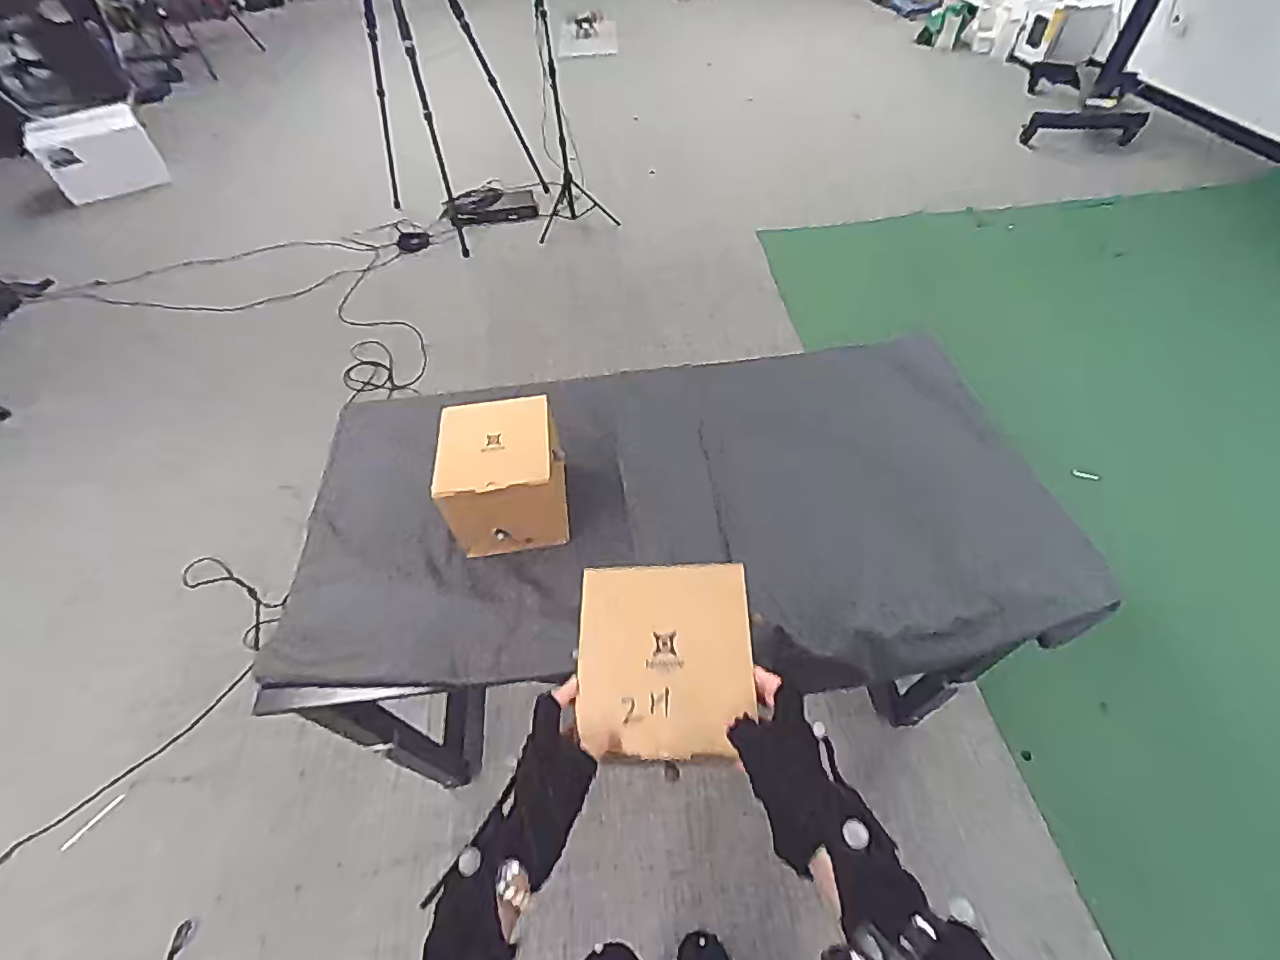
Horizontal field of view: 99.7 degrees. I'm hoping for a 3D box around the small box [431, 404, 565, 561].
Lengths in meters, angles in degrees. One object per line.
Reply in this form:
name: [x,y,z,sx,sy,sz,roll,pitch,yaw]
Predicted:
small box: [-0.214,0.006,0.857,0.168,0.176,0.179,-8,52,-3]
